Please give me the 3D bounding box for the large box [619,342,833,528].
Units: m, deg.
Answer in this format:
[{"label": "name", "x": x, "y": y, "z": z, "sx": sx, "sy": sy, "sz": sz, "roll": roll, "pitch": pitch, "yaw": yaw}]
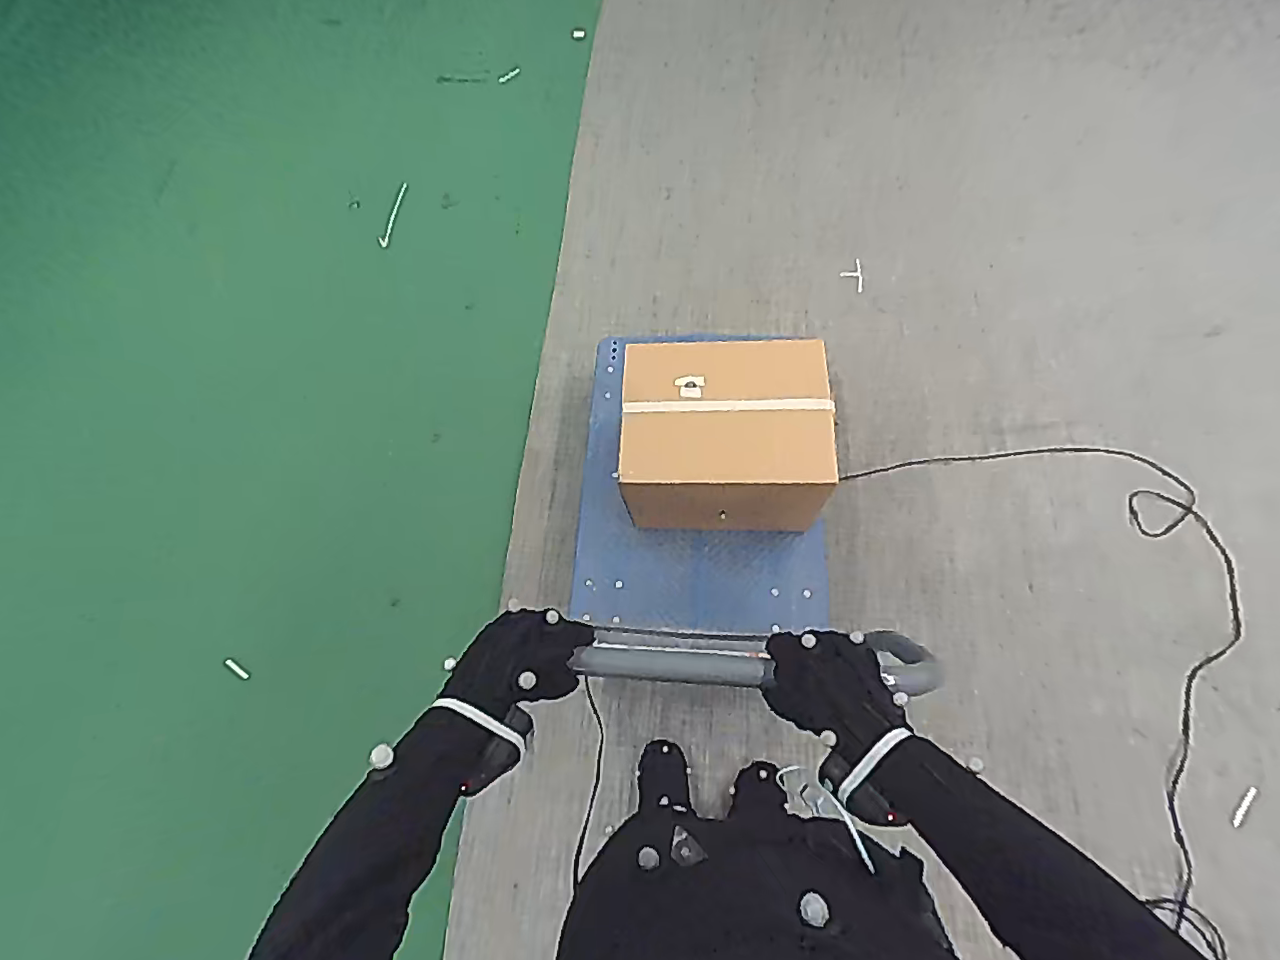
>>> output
[{"label": "large box", "x": 0.181, "y": -0.080, "z": 1.200, "sx": 0.408, "sy": 0.320, "sz": 0.320, "roll": -1, "pitch": 68, "yaw": 8}]
